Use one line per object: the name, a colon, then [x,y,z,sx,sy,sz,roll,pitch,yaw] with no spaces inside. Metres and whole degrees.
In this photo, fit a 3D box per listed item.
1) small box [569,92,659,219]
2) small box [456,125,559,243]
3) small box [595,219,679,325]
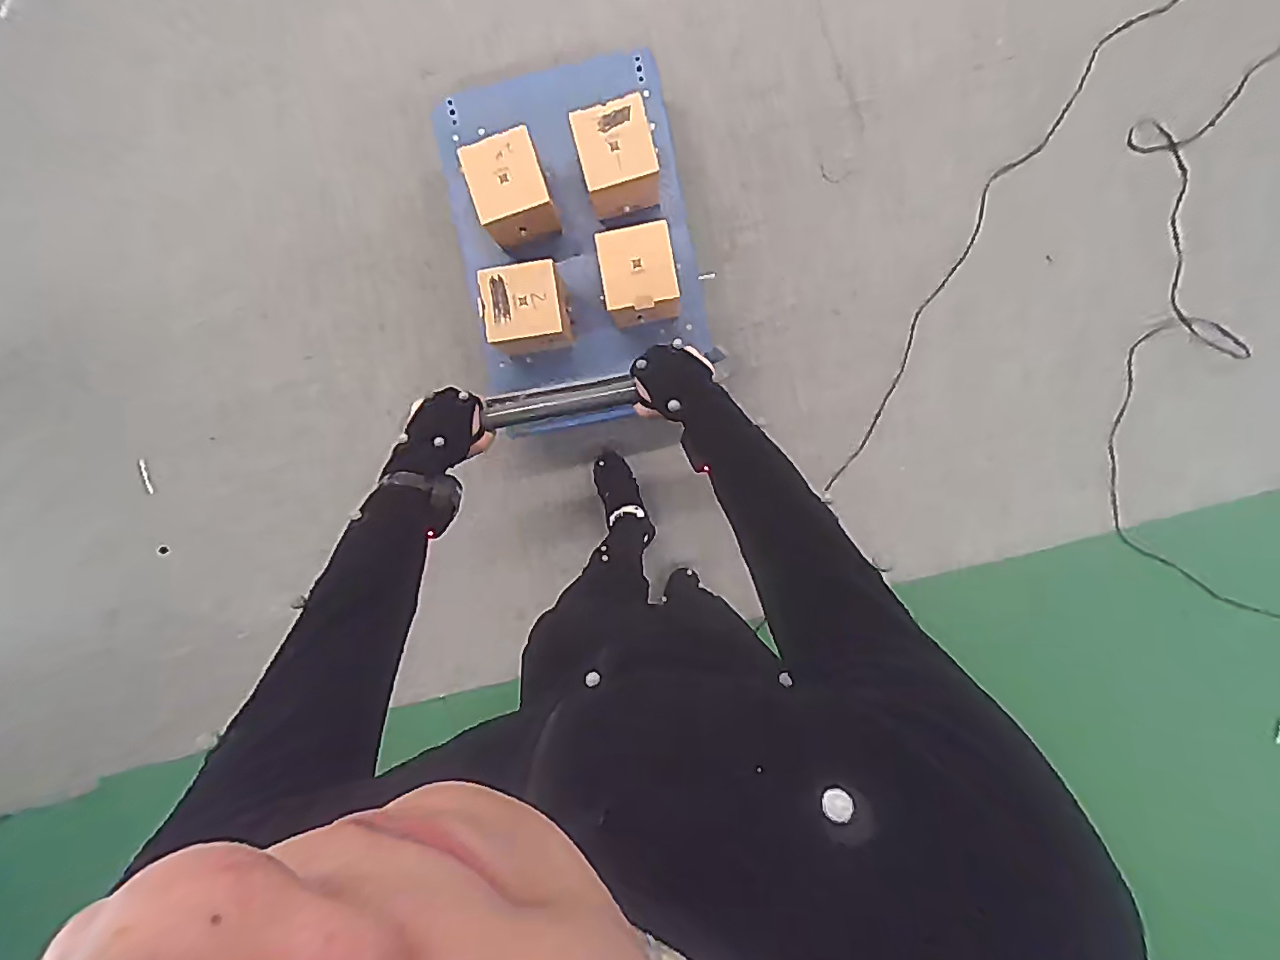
small box: [-0.056,-0.747,1.262,0.168,0.176,0.179,-15,94,4]
small box: [-0.302,-0.682,1.275,0.168,0.176,0.179,-17,93,2]
small box: [-0.005,-0.484,1.280,0.168,0.176,0.179,-10,94,3]
